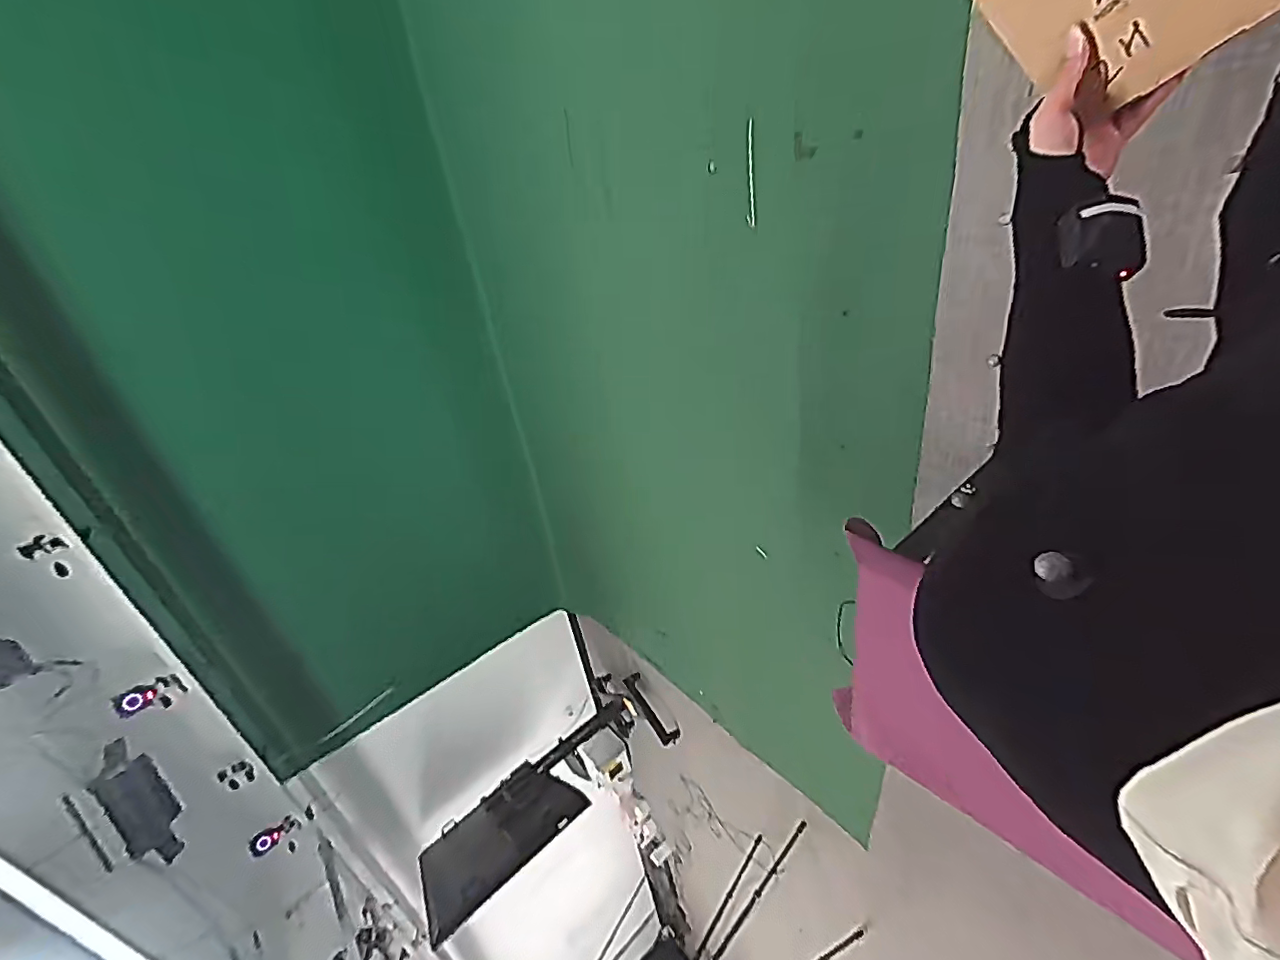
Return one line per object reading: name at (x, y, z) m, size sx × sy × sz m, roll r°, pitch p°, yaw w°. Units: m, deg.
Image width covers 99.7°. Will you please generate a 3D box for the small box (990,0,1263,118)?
small box at (0.432, -0.460, 0.435) m, size 0.179 × 0.176 × 0.168 m, roll 47°, pitch 176°, yaw -8°
